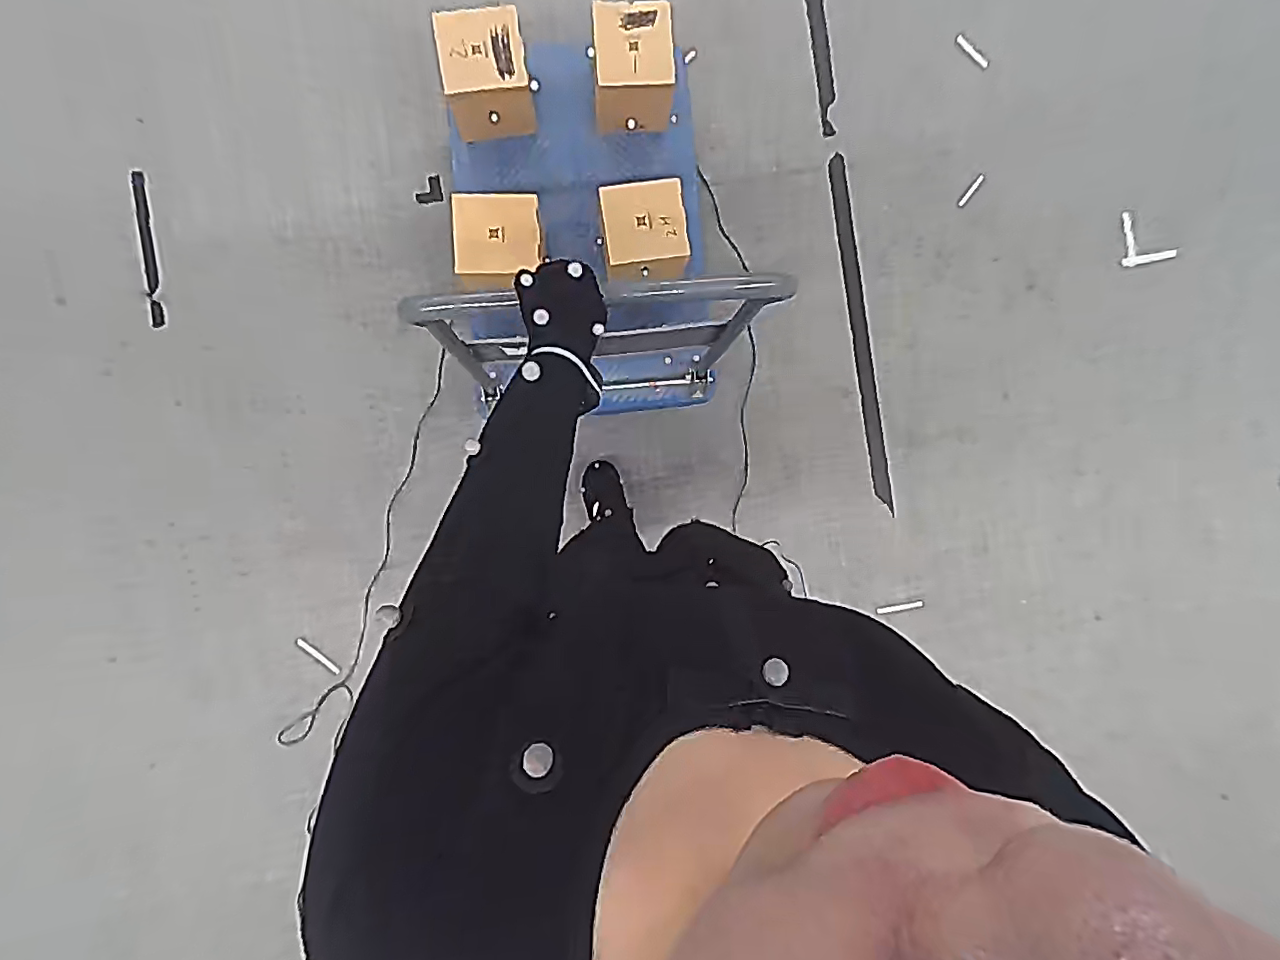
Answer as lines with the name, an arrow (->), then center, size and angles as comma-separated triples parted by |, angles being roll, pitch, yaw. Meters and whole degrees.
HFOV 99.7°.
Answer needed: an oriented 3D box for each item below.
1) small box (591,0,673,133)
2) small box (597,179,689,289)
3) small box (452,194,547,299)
small box -> -0.022, -0.914, 1.206 | 0.168, 0.176, 0.179 | -5, 93, -4
small box -> 0.003, -0.544, 1.216 | 0.179, 0.176, 0.168 | -9, 92, -4
small box -> -0.304, -0.507, 1.193 | 0.179, 0.176, 0.168 | -3, 91, -6
